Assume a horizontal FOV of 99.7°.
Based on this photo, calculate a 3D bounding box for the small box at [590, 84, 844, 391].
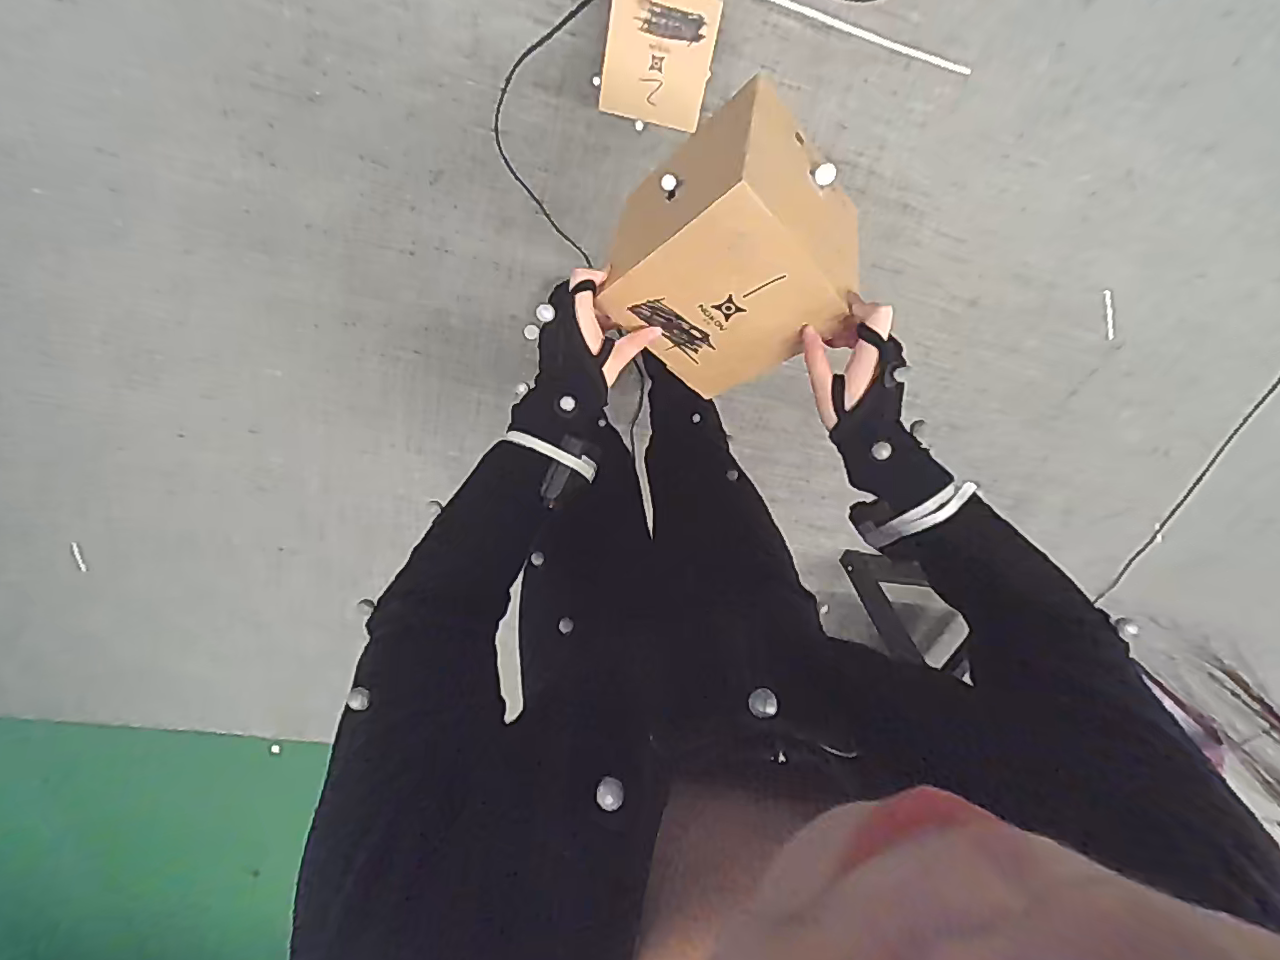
[{"bbox_3d":[0.082,-0.225,0.530,0.168,0.176,0.179,33,143,-30],"label":"small box"}]
